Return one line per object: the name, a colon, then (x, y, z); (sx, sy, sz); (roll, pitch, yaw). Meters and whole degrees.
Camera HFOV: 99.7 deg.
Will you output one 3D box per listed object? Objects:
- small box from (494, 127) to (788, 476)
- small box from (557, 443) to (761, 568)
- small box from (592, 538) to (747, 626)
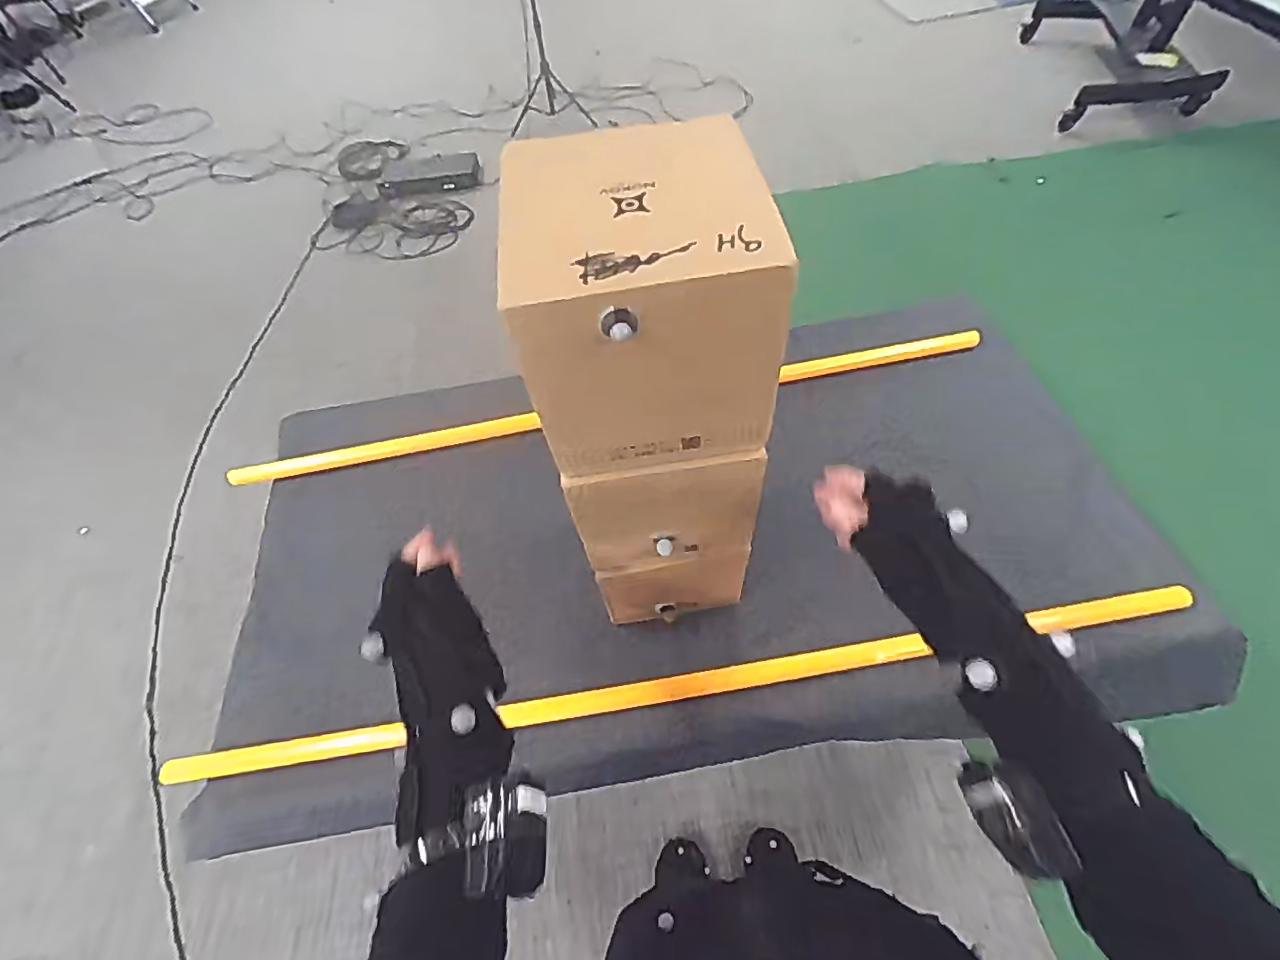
small box: (-0.001, -0.127, 0.408); (0.168, 0.176, 0.179); (-9, 56, 1)
small box: (0.013, -0.032, 0.540); (0.168, 0.176, 0.179); (-8, 57, 1)
small box: (0.025, 0.061, 0.676); (0.168, 0.176, 0.179); (-11, 58, -1)
